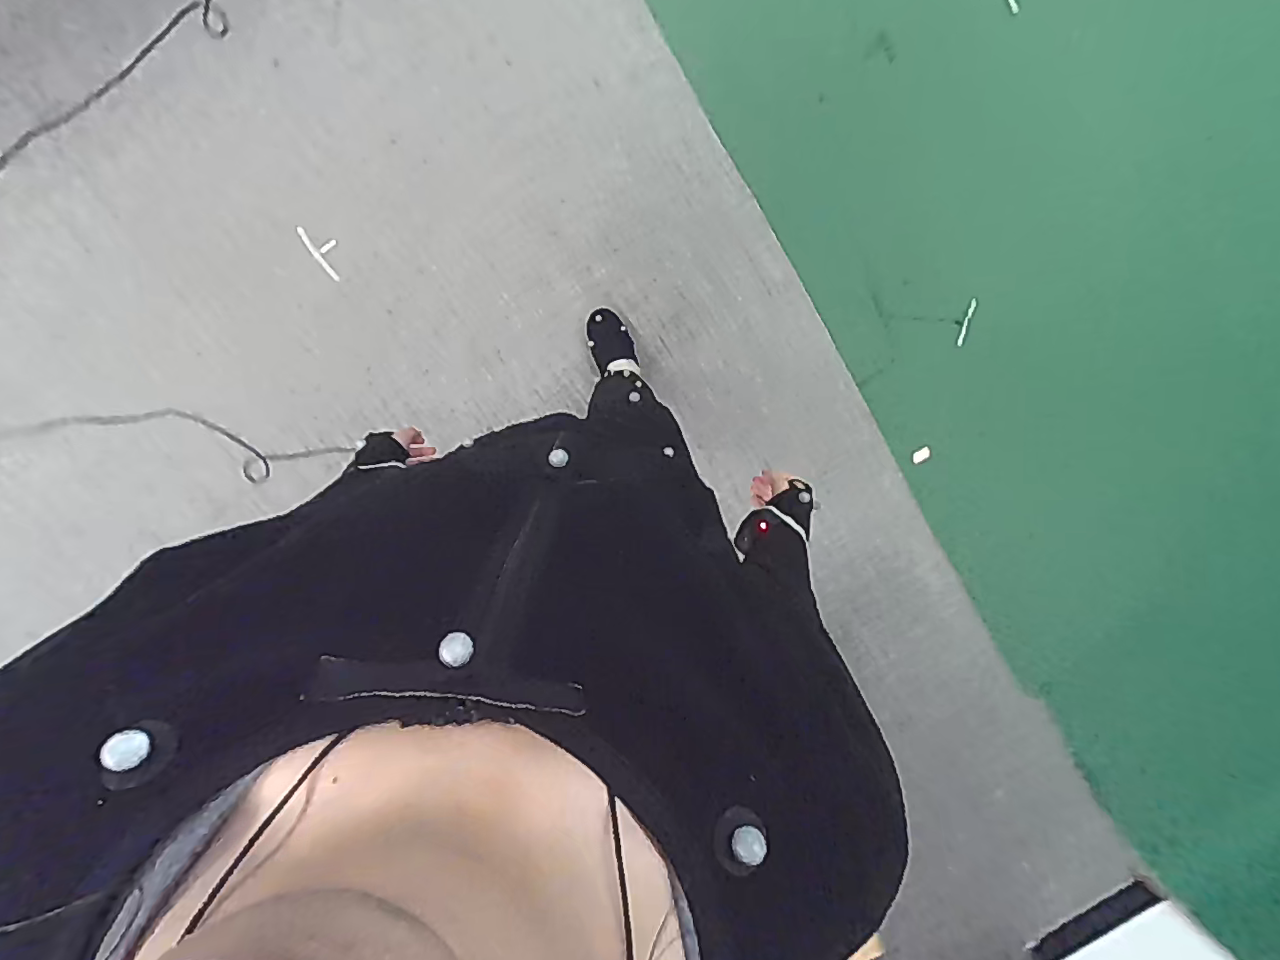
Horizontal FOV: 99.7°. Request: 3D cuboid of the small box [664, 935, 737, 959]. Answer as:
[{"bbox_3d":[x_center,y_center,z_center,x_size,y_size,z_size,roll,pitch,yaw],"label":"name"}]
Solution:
[{"bbox_3d":[0.100,0.847,0.812,0.179,0.176,0.168,-32,101,4],"label":"small box"}]
